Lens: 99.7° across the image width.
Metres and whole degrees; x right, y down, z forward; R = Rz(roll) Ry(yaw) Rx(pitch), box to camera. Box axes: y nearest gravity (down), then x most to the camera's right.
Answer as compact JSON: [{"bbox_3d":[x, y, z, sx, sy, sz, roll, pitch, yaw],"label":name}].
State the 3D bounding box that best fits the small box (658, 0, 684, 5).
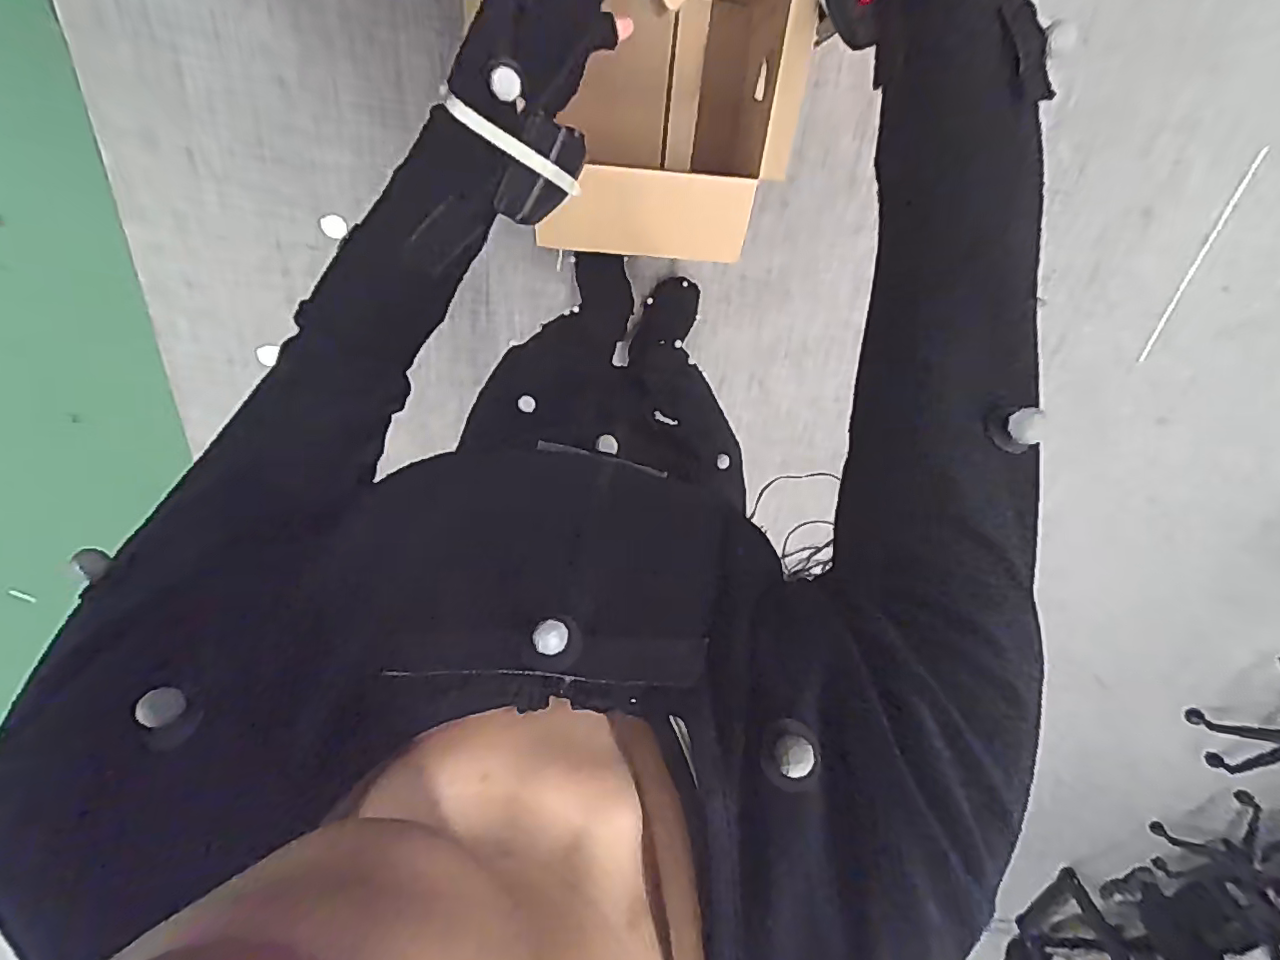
[{"bbox_3d":[0.040,-0.457,0.344,0.179,0.176,0.168,-32,126,22],"label":"small box"}]
